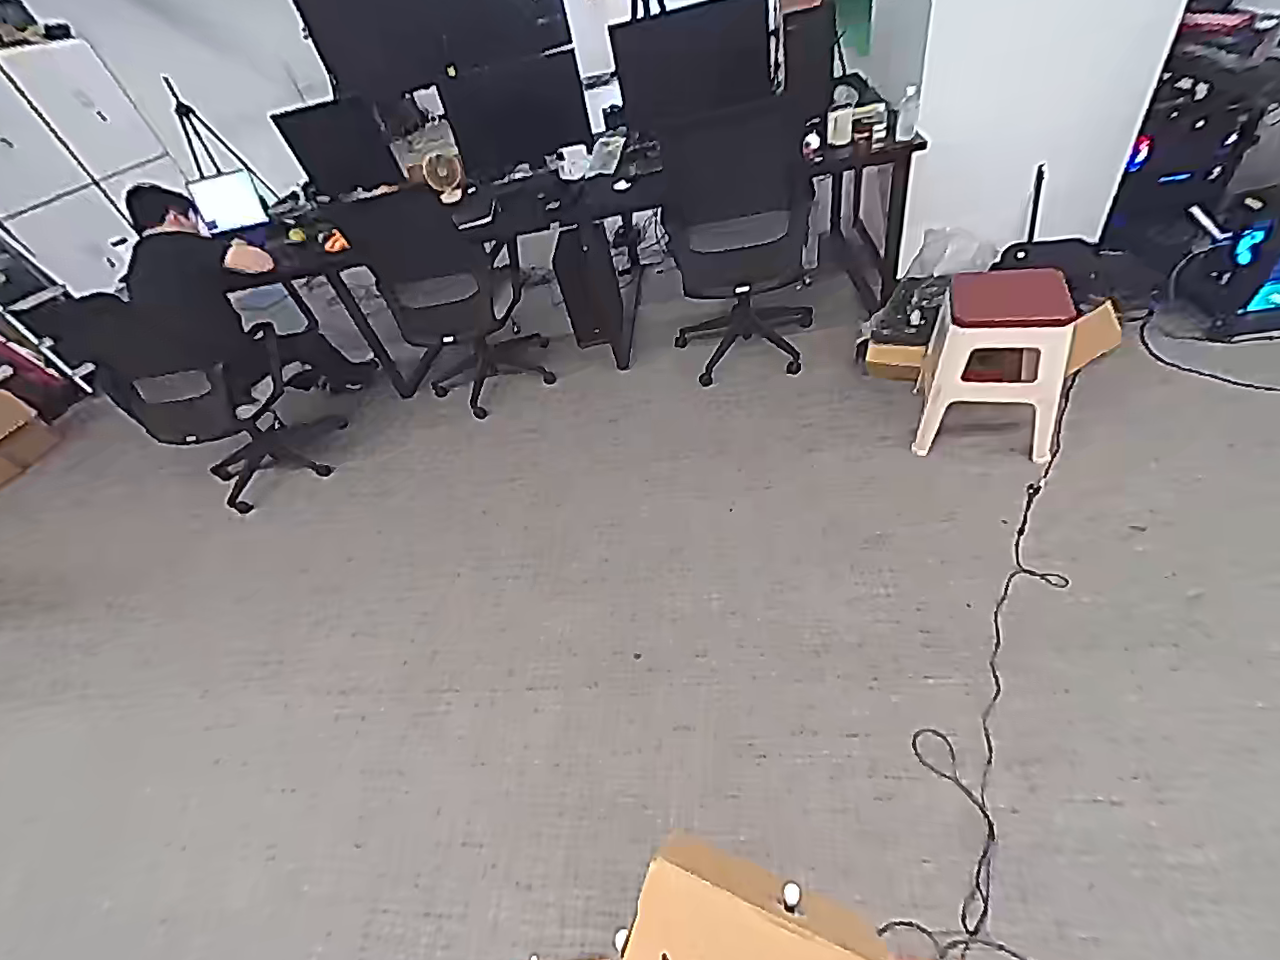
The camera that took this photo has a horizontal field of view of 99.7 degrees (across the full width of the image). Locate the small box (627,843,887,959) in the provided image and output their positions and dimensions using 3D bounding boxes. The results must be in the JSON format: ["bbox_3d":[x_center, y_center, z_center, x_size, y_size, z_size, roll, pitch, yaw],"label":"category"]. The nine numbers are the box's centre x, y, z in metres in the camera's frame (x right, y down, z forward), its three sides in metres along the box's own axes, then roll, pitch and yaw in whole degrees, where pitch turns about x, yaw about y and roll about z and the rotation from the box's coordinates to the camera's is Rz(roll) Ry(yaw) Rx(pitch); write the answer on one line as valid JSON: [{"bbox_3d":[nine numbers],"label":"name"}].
[{"bbox_3d":[0.072,0.379,0.371,0.179,0.176,0.168,16,66,17],"label":"small box"}]
